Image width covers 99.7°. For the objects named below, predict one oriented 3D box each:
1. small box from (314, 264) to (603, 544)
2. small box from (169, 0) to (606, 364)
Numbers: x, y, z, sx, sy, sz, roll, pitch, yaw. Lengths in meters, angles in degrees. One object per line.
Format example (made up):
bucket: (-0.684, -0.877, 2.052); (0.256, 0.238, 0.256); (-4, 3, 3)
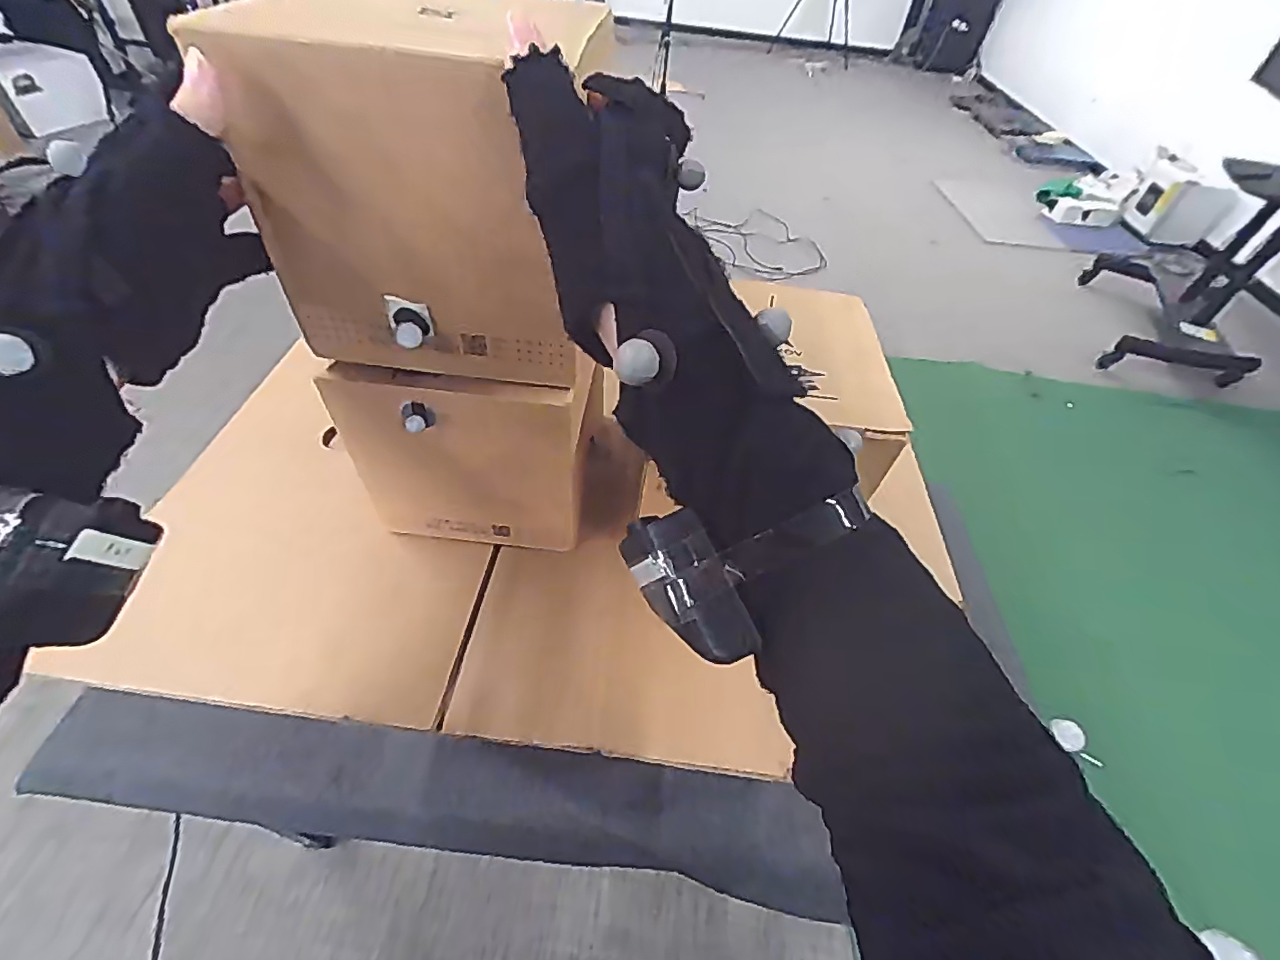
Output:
small box: (-0.126, -0.071, 0.456); (0.168, 0.176, 0.179); (6, 49, 2)
small box: (-0.112, -0.196, 0.327); (0.168, 0.176, 0.179); (4, 50, -2)
